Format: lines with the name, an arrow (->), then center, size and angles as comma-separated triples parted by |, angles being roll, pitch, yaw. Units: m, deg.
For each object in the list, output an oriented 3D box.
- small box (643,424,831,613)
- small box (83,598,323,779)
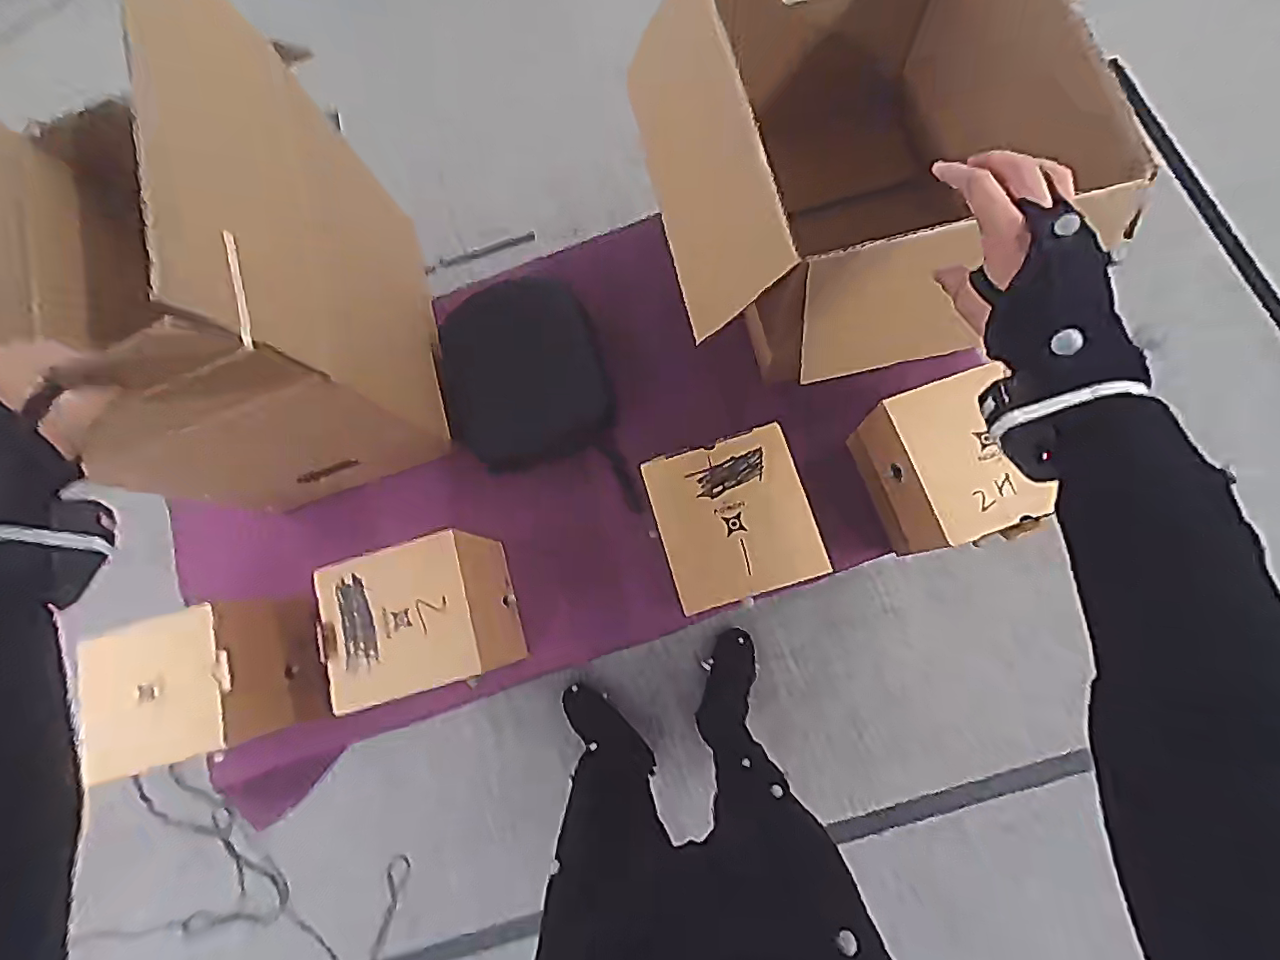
small box -> 0.110, 0.056, 0.667 | 0.168, 0.176, 0.179 | -17, 78, 4
small box -> -0.554, 0.257, 0.702 | 0.179, 0.176, 0.168 | -16, 77, 2
